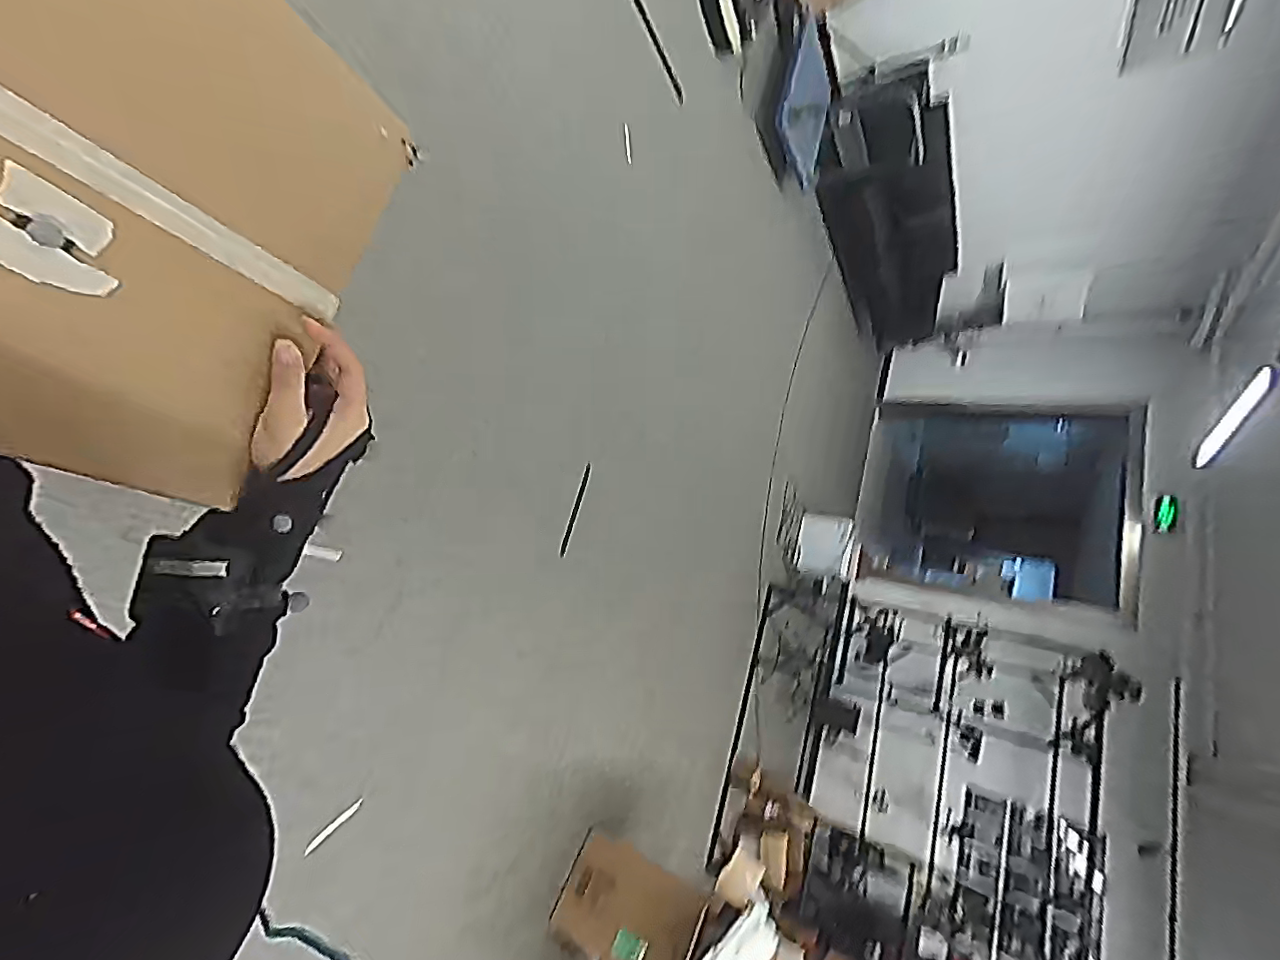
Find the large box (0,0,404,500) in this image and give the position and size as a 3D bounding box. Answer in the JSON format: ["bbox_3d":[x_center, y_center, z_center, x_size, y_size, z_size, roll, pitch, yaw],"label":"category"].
[{"bbox_3d":[-0.452,-0.211,0.327,0.408,0.320,0.320,33,74,-55],"label":"large box"}]
